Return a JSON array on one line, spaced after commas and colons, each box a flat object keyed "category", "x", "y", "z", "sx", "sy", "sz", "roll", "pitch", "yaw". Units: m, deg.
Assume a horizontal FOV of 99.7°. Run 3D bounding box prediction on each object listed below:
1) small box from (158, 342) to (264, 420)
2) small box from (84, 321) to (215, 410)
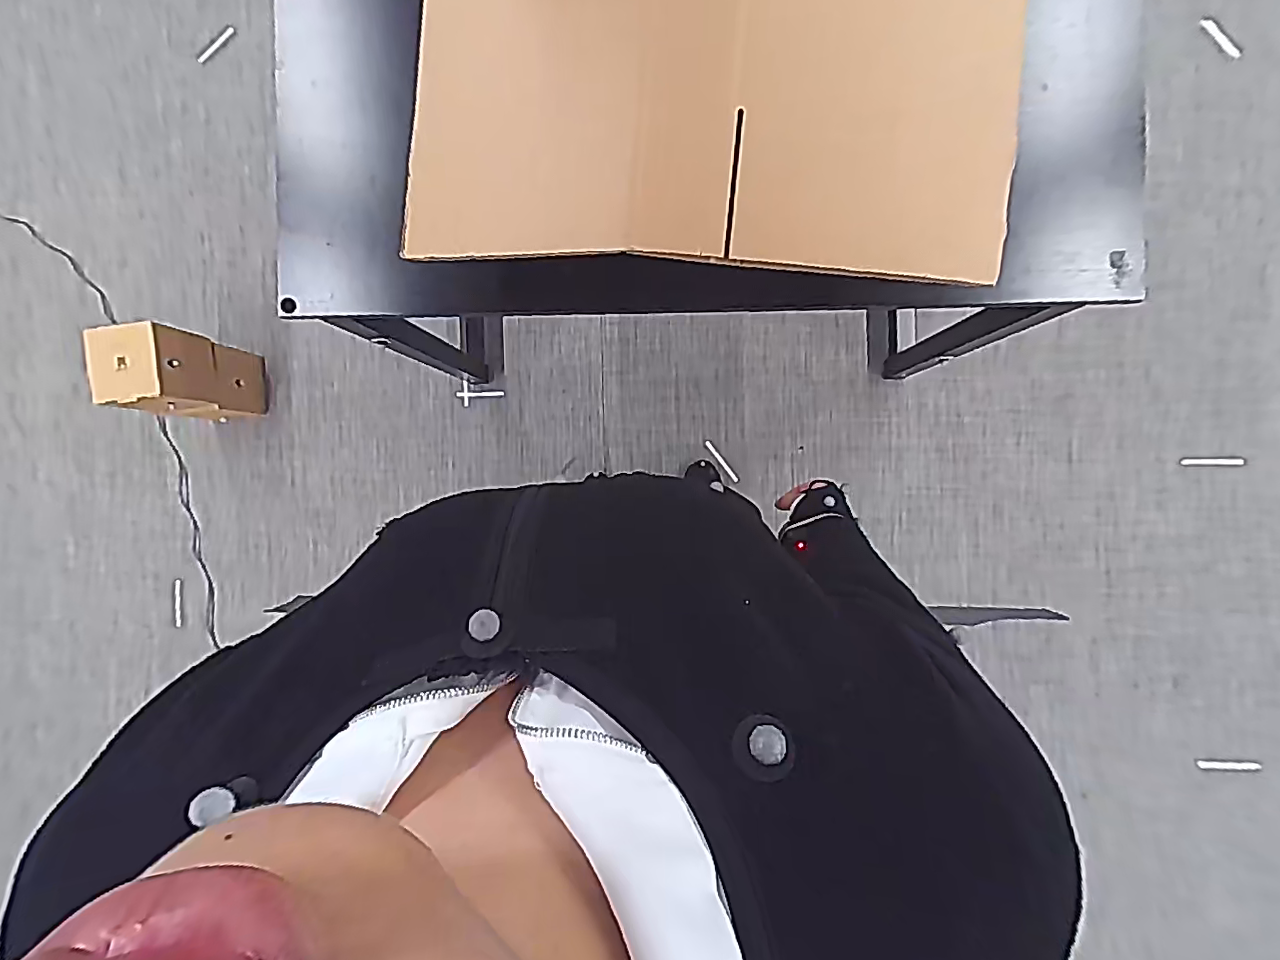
[{"category": "small box", "x": -1.164, "y": -0.264, "z": 1.471, "sx": 0.168, "sy": 0.176, "sz": 0.179, "roll": -4, "pitch": 91, "yaw": 3}, {"category": "small box", "x": -1.175, "y": -0.268, "z": 1.309, "sx": 0.168, "sy": 0.176, "sz": 0.179, "roll": -7, "pitch": 89, "yaw": 2}]
